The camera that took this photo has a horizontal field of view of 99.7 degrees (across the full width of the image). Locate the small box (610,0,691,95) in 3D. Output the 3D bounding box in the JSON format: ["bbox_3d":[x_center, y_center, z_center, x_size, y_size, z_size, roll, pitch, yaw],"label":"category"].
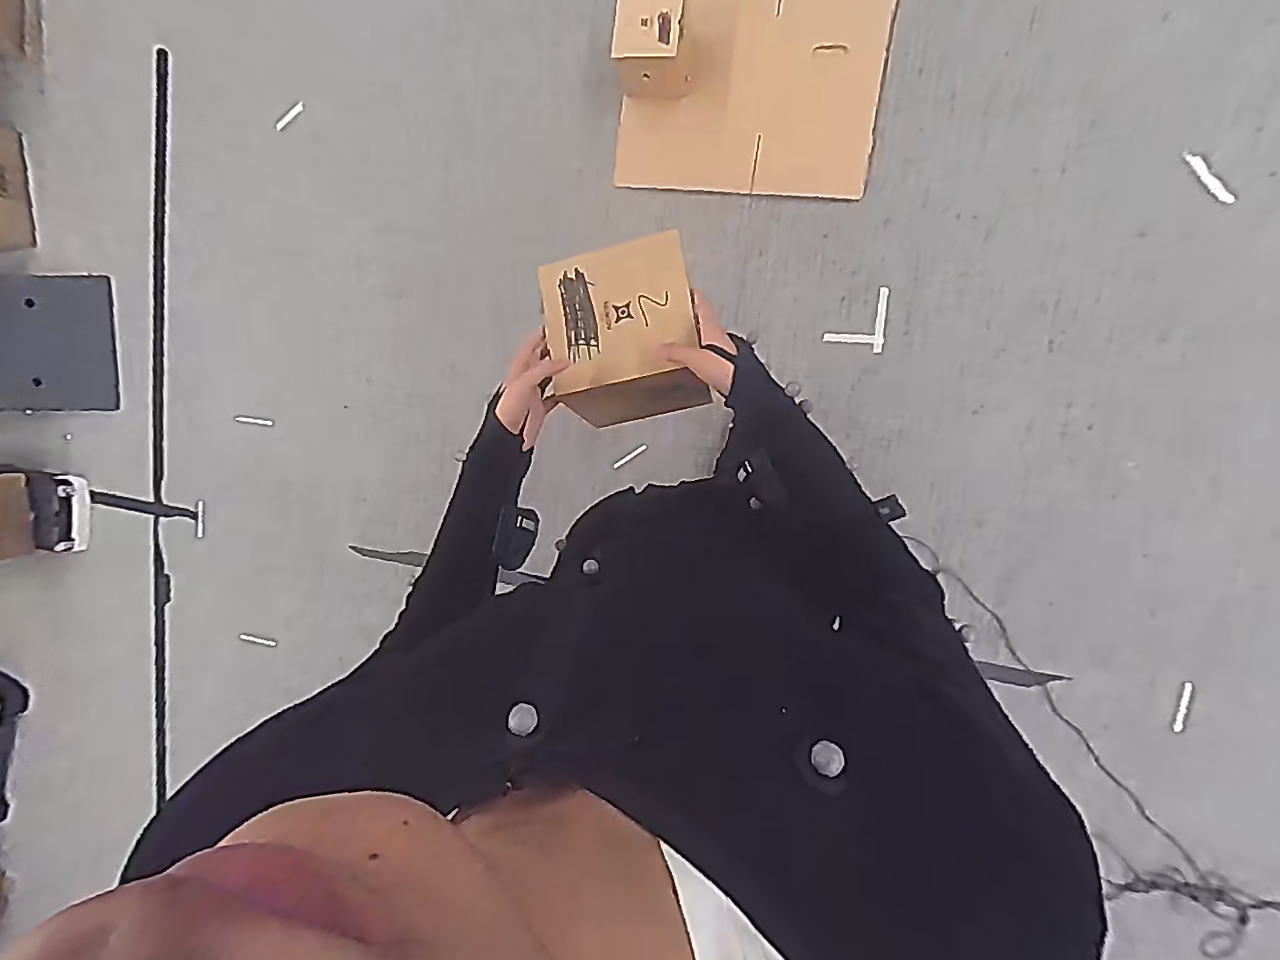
[{"bbox_3d":[0.033,-1.158,1.435,0.179,0.176,0.168,9,97,12],"label":"small box"}]
